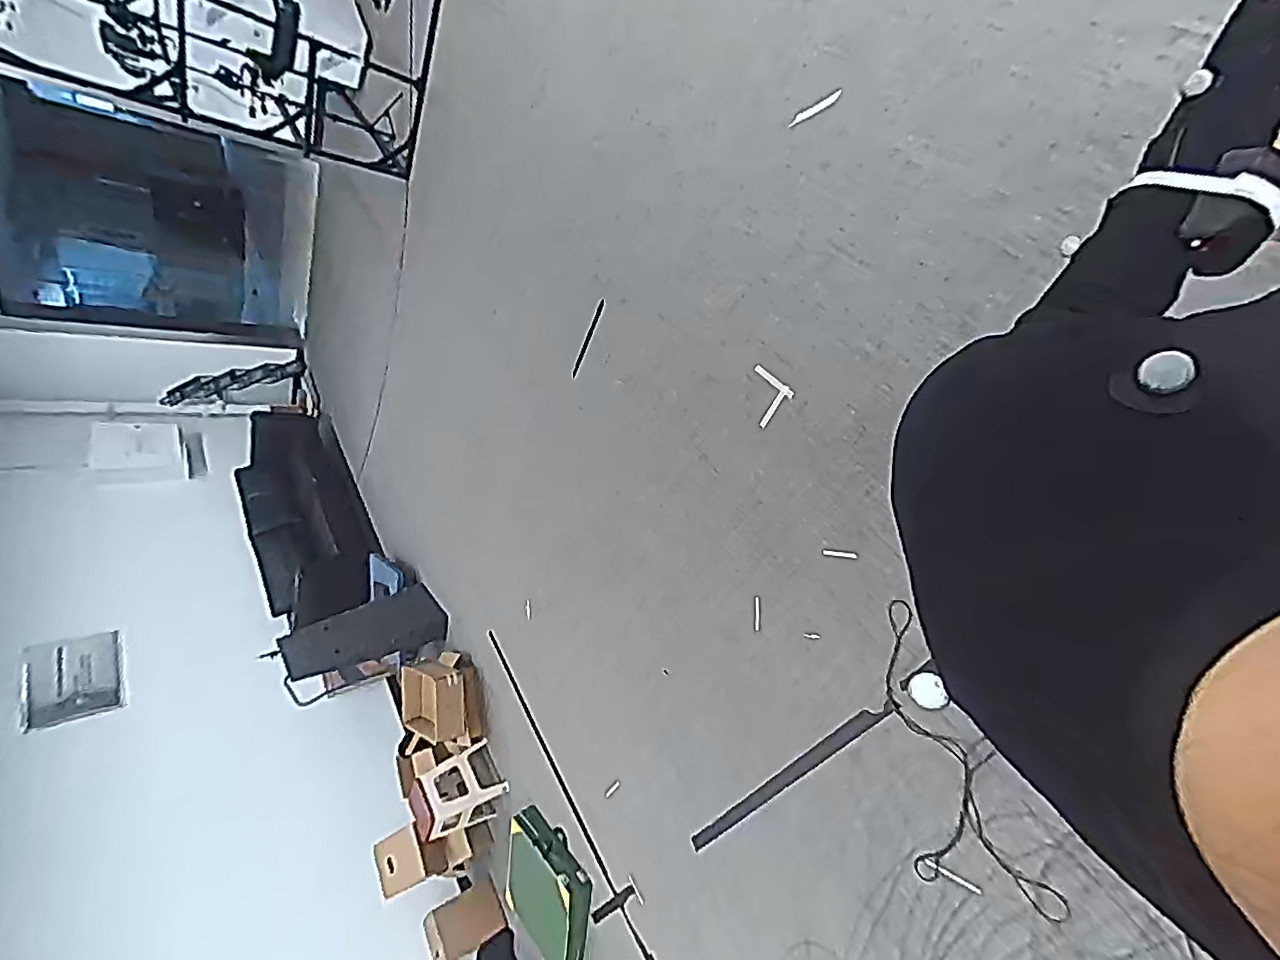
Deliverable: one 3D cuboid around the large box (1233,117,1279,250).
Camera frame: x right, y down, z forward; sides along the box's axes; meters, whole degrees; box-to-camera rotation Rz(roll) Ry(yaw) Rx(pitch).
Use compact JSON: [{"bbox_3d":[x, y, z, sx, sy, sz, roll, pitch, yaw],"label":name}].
[{"bbox_3d":[0.707,-0.273,0.313,0.408,0.320,0.320,38,126,35],"label":"large box"}]
